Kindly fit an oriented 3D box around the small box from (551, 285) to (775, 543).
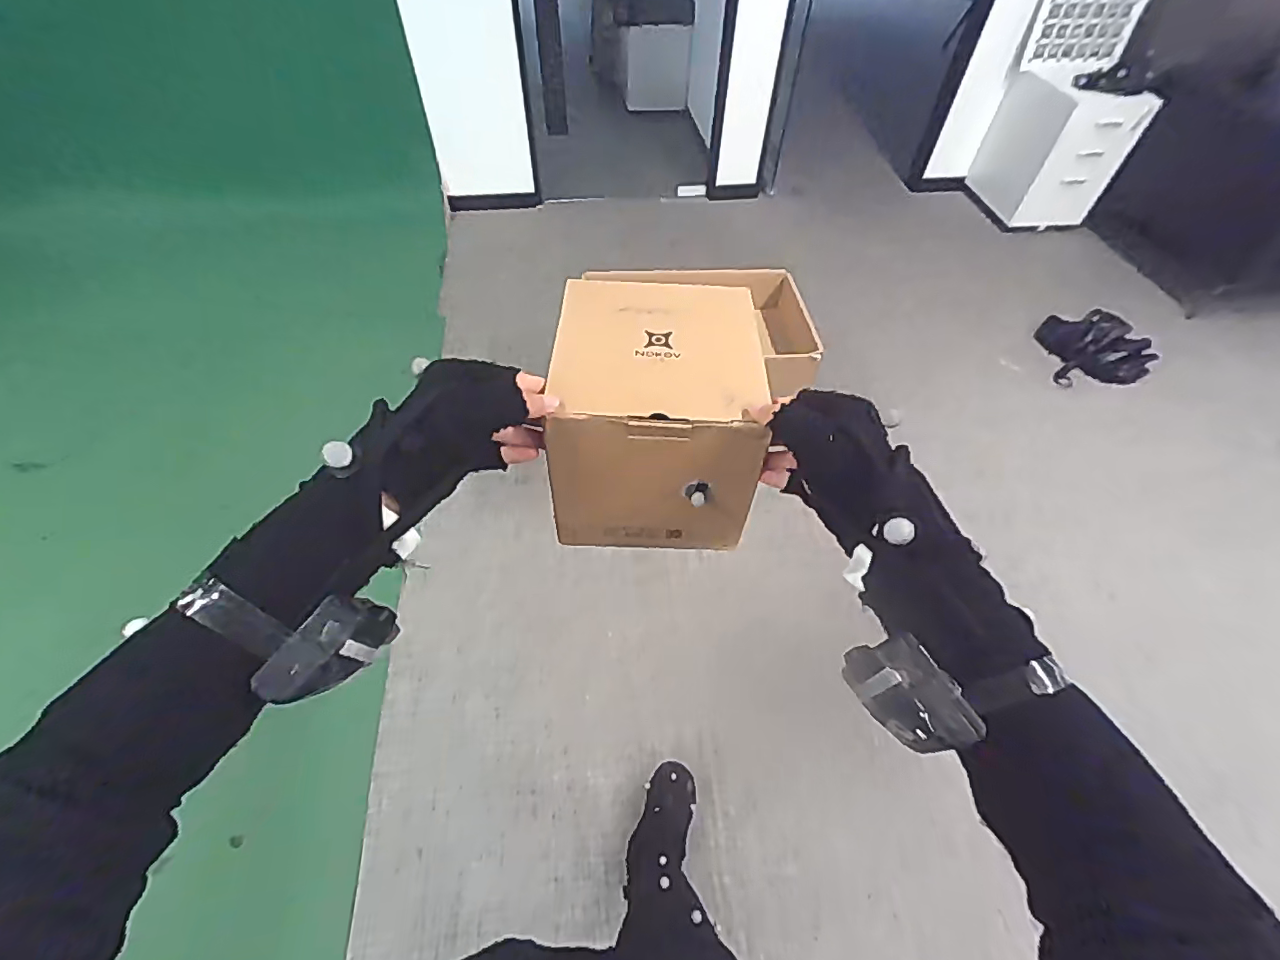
[{"bbox_3d":[0.016,-0.056,0.499,0.168,0.176,0.179,2,49,-2],"label":"small box"}]
